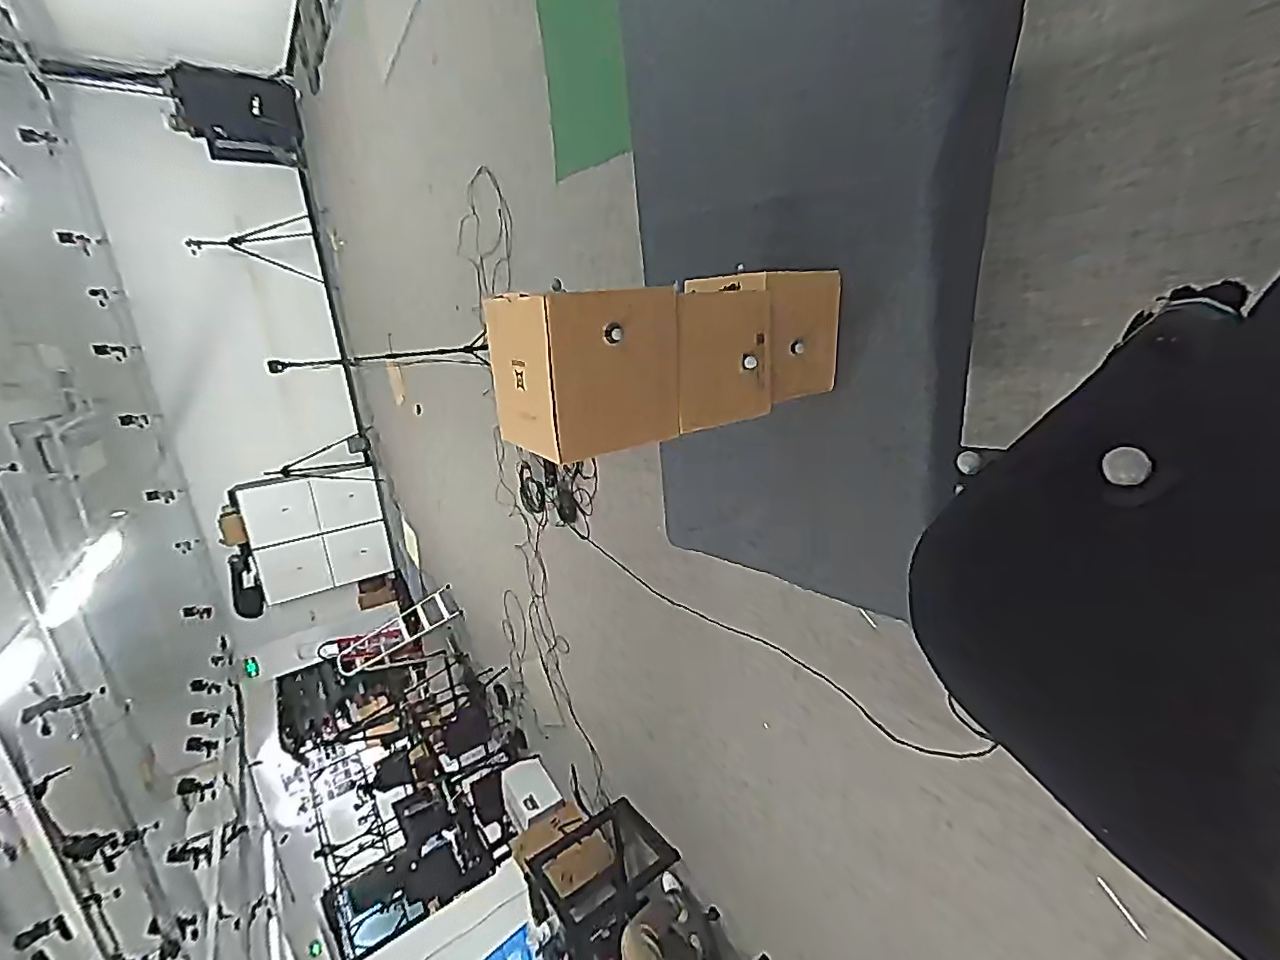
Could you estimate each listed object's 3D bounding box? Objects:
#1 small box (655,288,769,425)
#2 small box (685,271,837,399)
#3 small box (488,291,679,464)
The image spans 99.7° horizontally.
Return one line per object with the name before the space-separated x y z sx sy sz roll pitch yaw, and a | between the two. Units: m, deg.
small box | 0.059 -0.173 0.760 0.179 0.176 0.168 16 116 55
small box | 0.189 -0.227 0.847 0.168 0.176 0.179 21 120 51
small box | -0.066 -0.137 0.663 0.168 0.176 0.179 23 123 52
